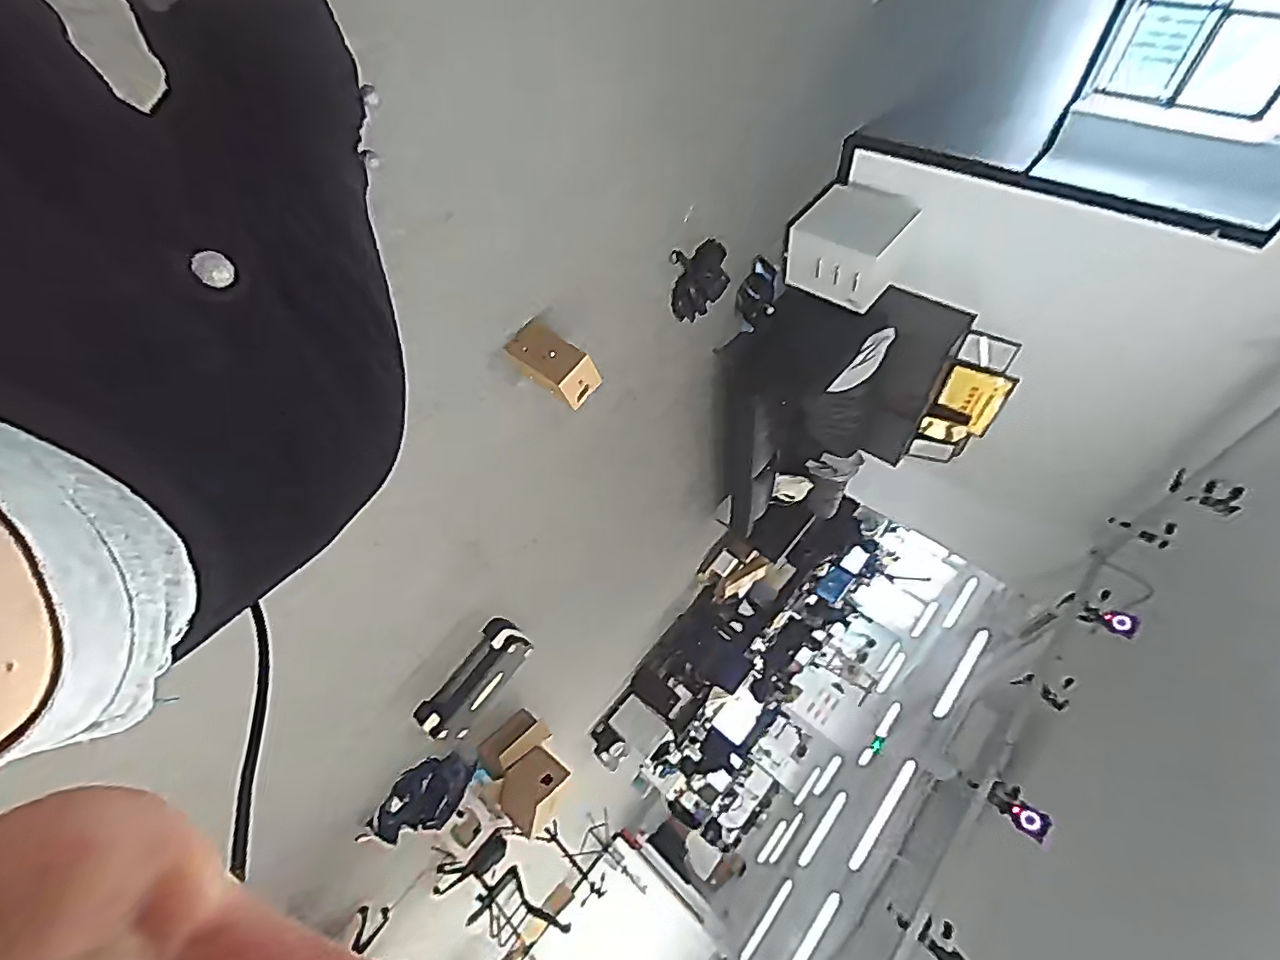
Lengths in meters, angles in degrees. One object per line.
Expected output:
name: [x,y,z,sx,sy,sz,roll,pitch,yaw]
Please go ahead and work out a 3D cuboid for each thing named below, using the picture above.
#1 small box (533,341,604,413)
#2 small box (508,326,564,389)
small box: [-0.271,-0.394,2.052,0.168,0.176,0.179,-49,152,-10]
small box: [-0.386,-0.482,2.129,0.168,0.176,0.179,-49,154,-9]
